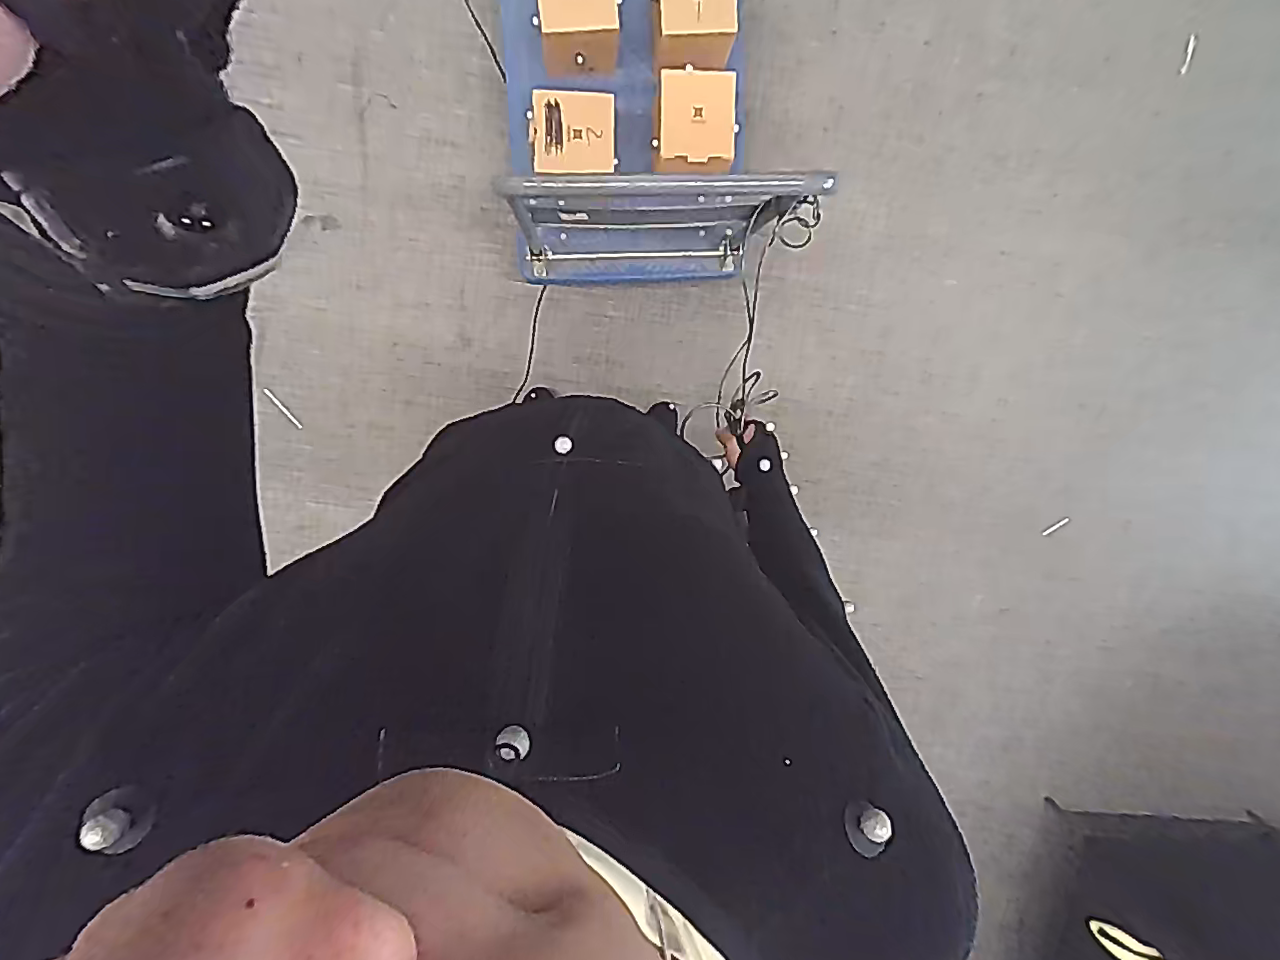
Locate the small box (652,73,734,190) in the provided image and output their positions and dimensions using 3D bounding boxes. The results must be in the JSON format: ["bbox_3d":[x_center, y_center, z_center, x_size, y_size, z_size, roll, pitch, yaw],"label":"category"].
[{"bbox_3d":[0.116,-0.800,1.255,0.168,0.176,0.179,-1,100,-4],"label":"small box"}]

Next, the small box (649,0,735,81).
[{"bbox_3d":[0.112,-1.038,1.212,0.168,0.176,0.179,-5,101,-3],"label":"small box"}]

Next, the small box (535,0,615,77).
[{"bbox_3d":[-0.144,-1.027,1.196,0.168,0.176,0.179,-6,100,-4],"label":"small box"}]
